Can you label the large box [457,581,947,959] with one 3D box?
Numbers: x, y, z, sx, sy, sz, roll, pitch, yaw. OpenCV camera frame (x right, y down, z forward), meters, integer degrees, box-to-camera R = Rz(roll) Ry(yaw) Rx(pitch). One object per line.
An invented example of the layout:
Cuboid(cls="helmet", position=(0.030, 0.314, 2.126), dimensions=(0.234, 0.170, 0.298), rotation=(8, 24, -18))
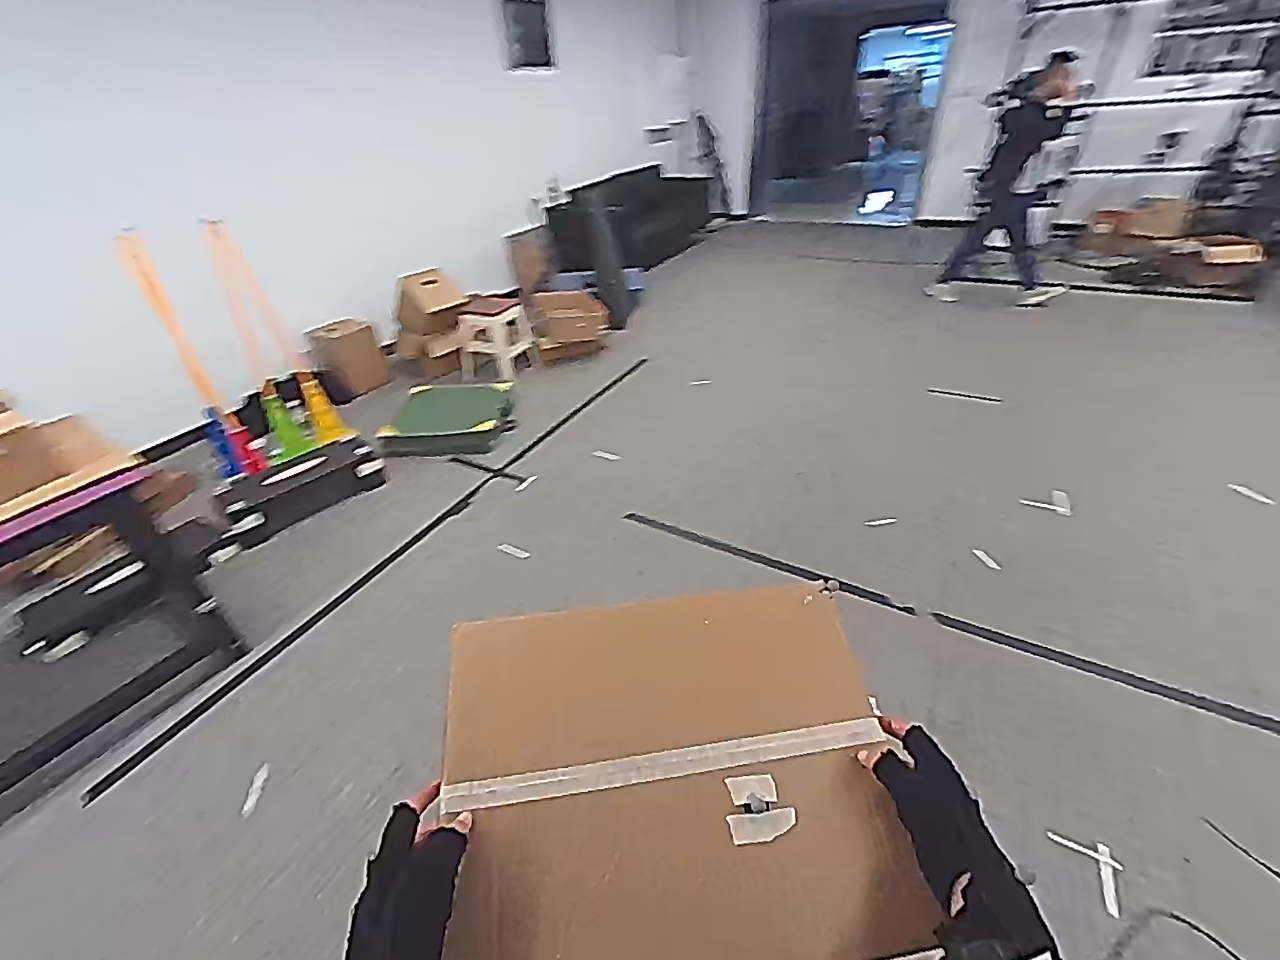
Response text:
Cuboid(cls="large box", position=(0.030, 0.343, 0.624), dimensions=(0.408, 0.320, 0.320), rotation=(-4, 54, -6))
